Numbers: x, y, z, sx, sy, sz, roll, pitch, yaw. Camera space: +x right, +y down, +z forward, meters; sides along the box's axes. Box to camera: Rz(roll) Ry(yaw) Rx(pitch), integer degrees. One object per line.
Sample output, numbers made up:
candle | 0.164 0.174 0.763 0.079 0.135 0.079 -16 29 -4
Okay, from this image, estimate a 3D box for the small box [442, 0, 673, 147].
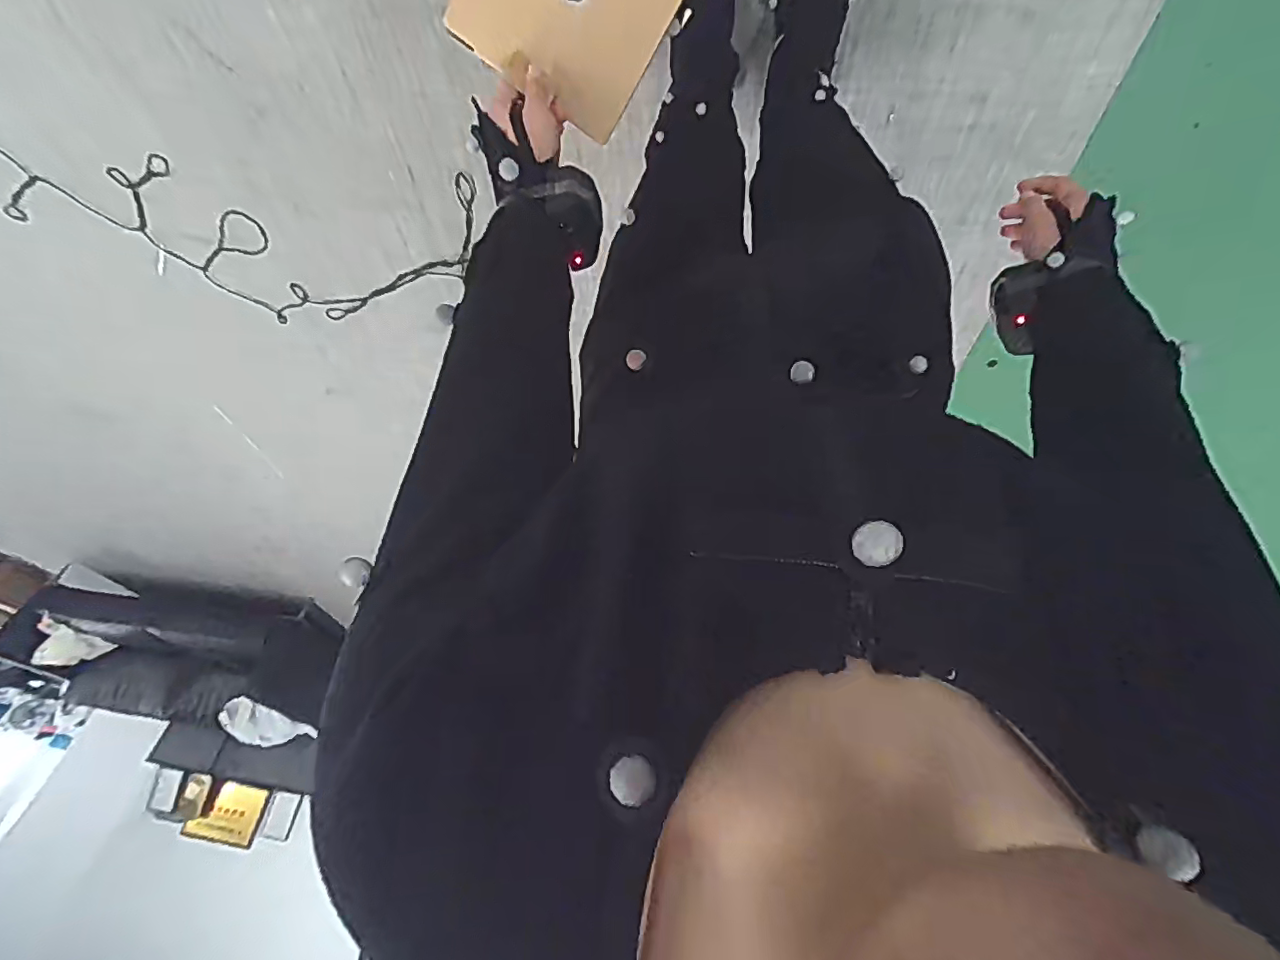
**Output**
small box | -0.075 -0.464 0.535 0.168 0.179 0.176 25 116 -23
